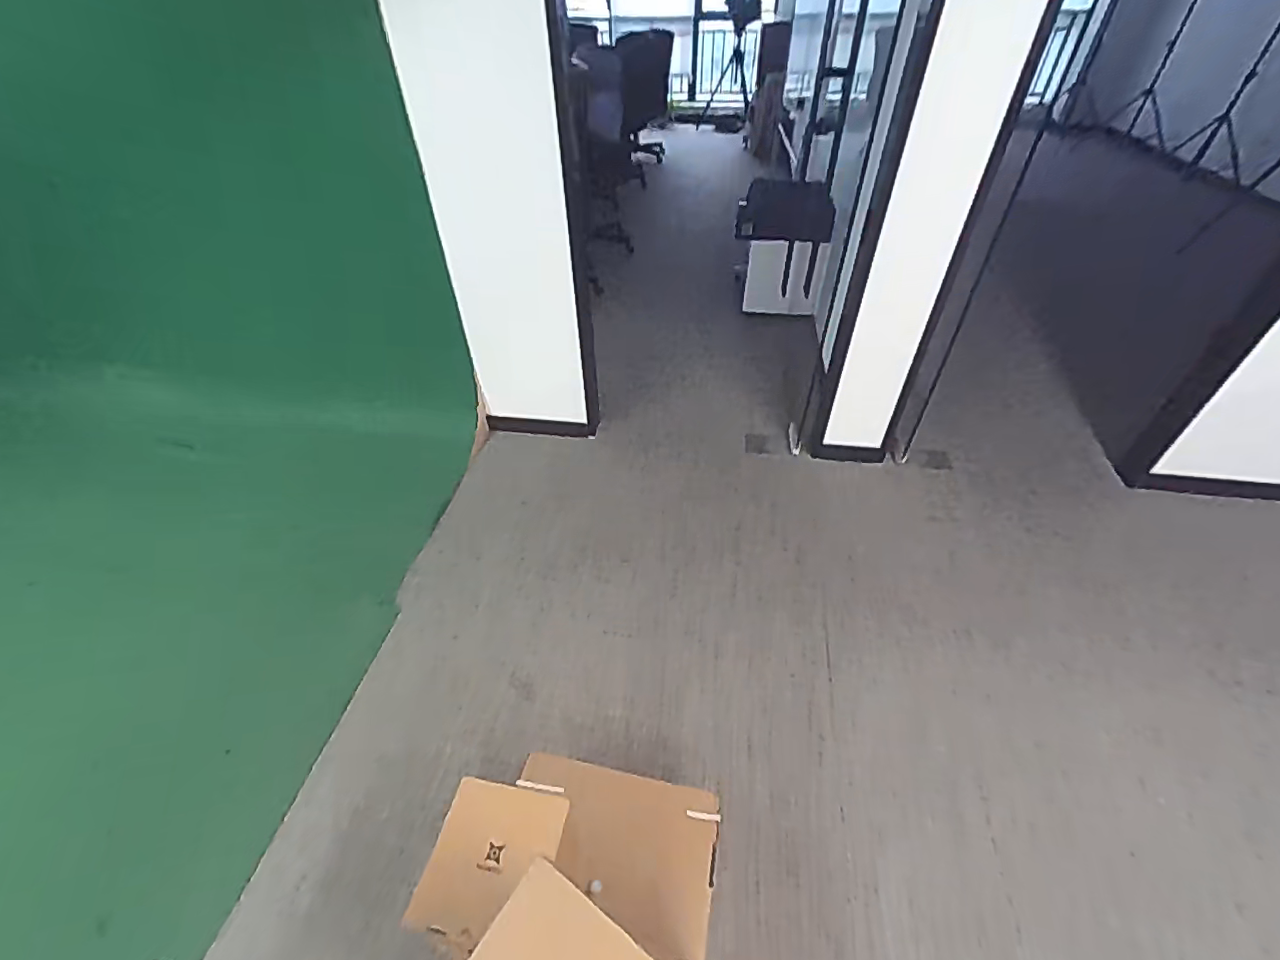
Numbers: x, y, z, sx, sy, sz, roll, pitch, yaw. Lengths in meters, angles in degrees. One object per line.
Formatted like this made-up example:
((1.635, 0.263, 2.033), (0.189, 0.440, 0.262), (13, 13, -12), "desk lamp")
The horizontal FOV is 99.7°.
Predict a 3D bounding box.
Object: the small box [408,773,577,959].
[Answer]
((-0.192, 0.556, 0.769), (0.168, 0.176, 0.179), (8, 44, 10), "small box")
